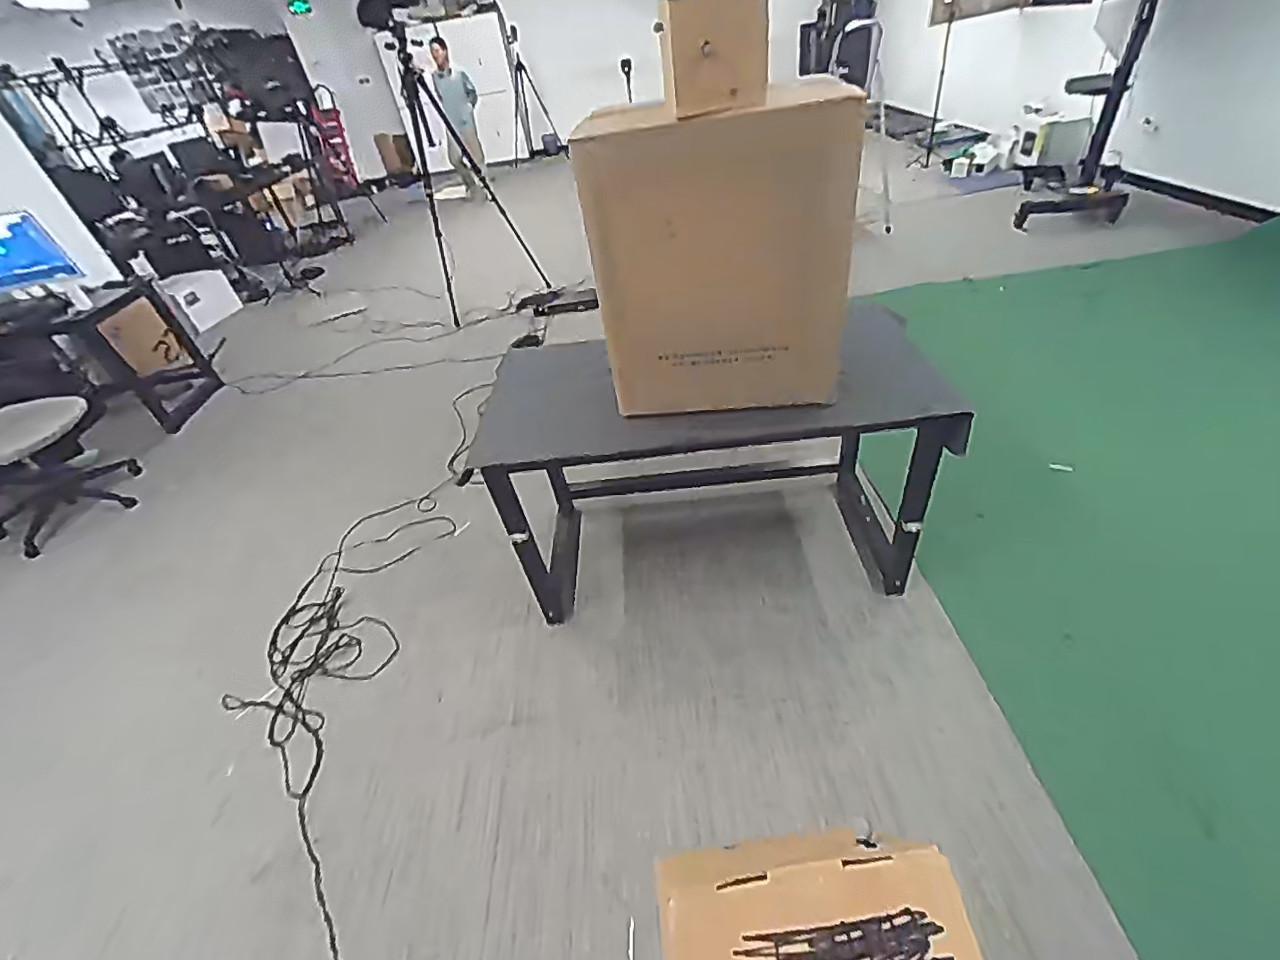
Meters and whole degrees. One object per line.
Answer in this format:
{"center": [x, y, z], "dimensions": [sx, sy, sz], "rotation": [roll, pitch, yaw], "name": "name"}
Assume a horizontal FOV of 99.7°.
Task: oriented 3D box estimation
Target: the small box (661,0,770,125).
{"center": [0.135, -0.756, 0.971], "dimensions": [0.168, 0.176, 0.179], "rotation": [-9, 41, 2], "name": "small box"}
